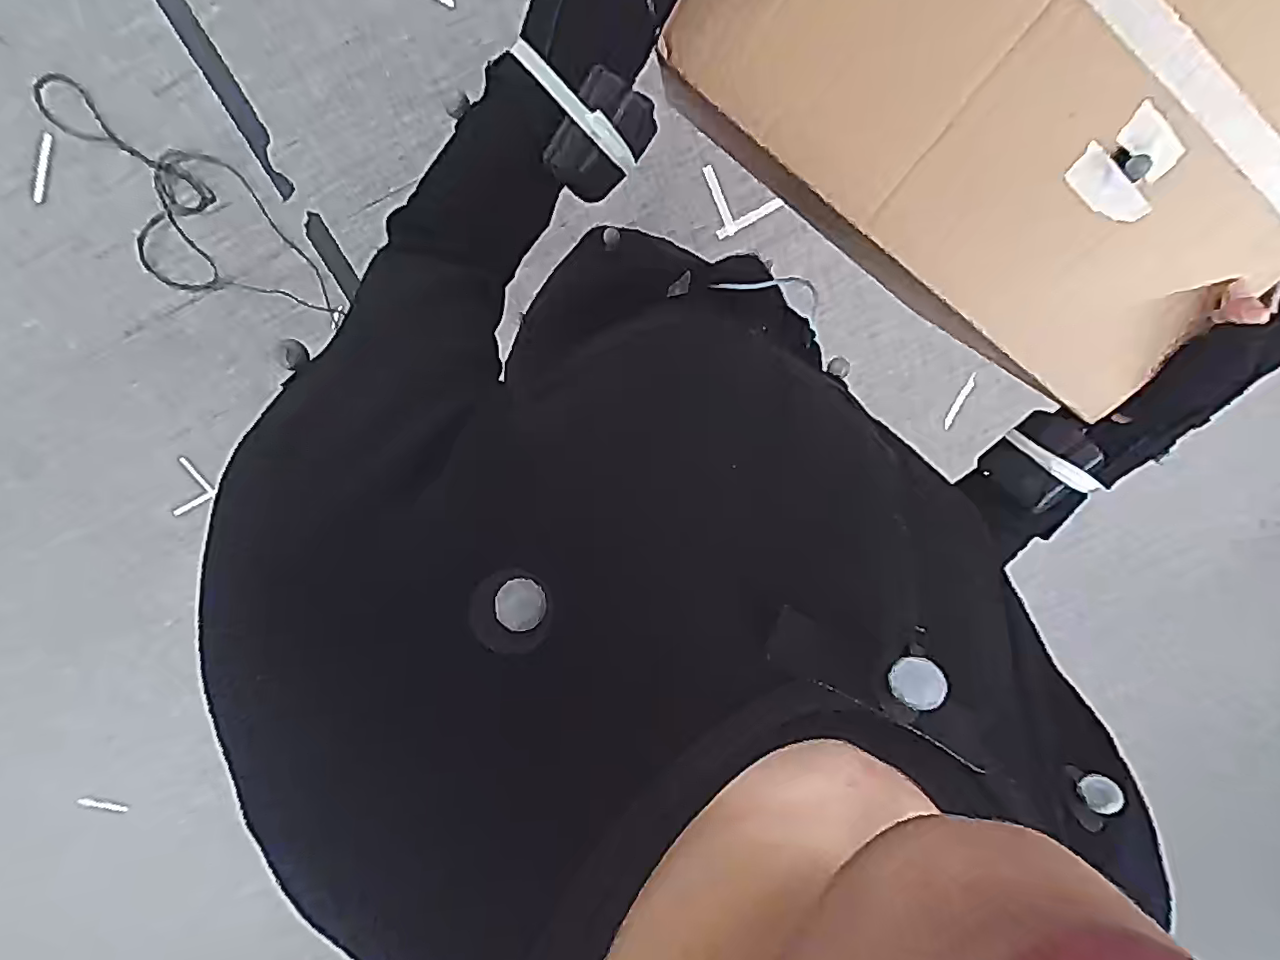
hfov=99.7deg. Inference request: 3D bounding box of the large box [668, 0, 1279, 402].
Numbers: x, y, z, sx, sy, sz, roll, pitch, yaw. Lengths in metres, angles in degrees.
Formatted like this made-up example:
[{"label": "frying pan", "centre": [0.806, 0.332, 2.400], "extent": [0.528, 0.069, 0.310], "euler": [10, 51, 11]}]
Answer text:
[{"label": "large box", "centre": [0.267, -0.337, 0.429], "extent": [0.408, 0.320, 0.320], "euler": [32, 119, -15]}]
